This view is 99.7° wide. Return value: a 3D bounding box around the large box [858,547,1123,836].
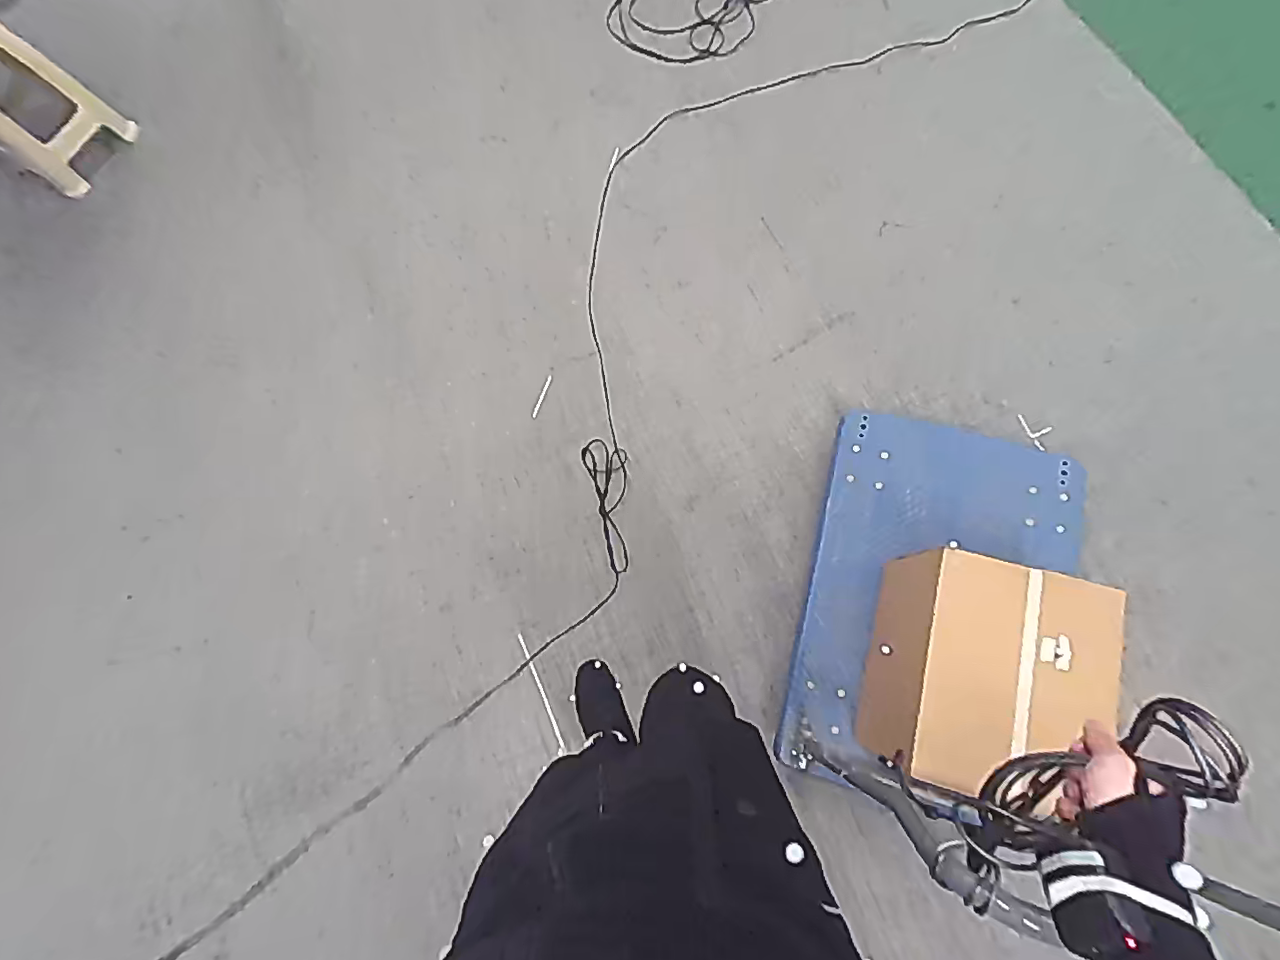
[{"bbox_3d":[0.656,0.383,1.060,0.320,0.320,0.408,15,76,7],"label":"large box"}]
